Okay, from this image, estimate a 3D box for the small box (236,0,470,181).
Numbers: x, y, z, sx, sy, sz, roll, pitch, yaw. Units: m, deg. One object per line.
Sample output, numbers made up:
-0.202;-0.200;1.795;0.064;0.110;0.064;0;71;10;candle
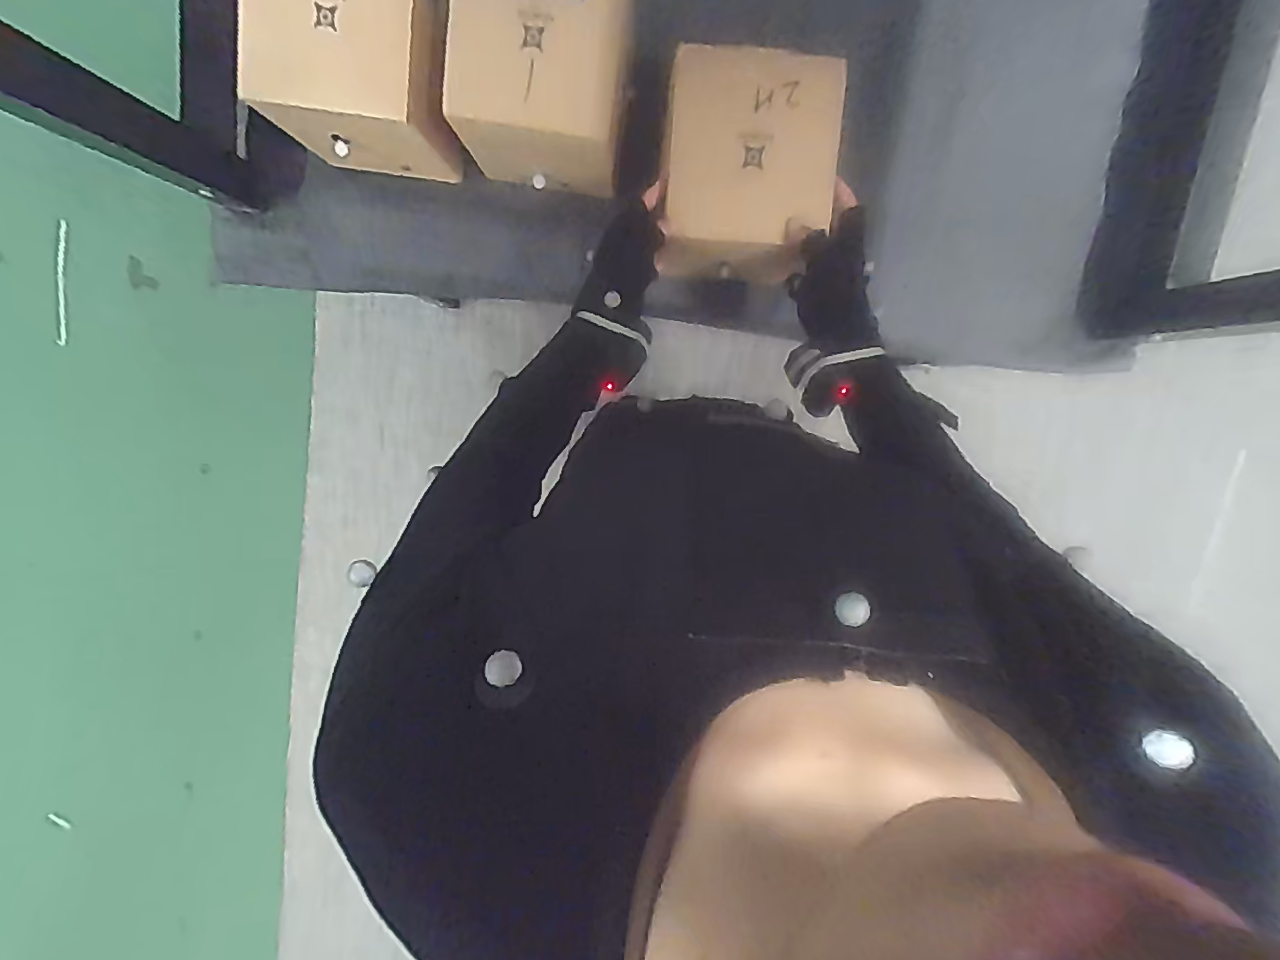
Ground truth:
-0.294;-0.452;0.586;0.168;0.176;0.179;7;99;-1;small box
